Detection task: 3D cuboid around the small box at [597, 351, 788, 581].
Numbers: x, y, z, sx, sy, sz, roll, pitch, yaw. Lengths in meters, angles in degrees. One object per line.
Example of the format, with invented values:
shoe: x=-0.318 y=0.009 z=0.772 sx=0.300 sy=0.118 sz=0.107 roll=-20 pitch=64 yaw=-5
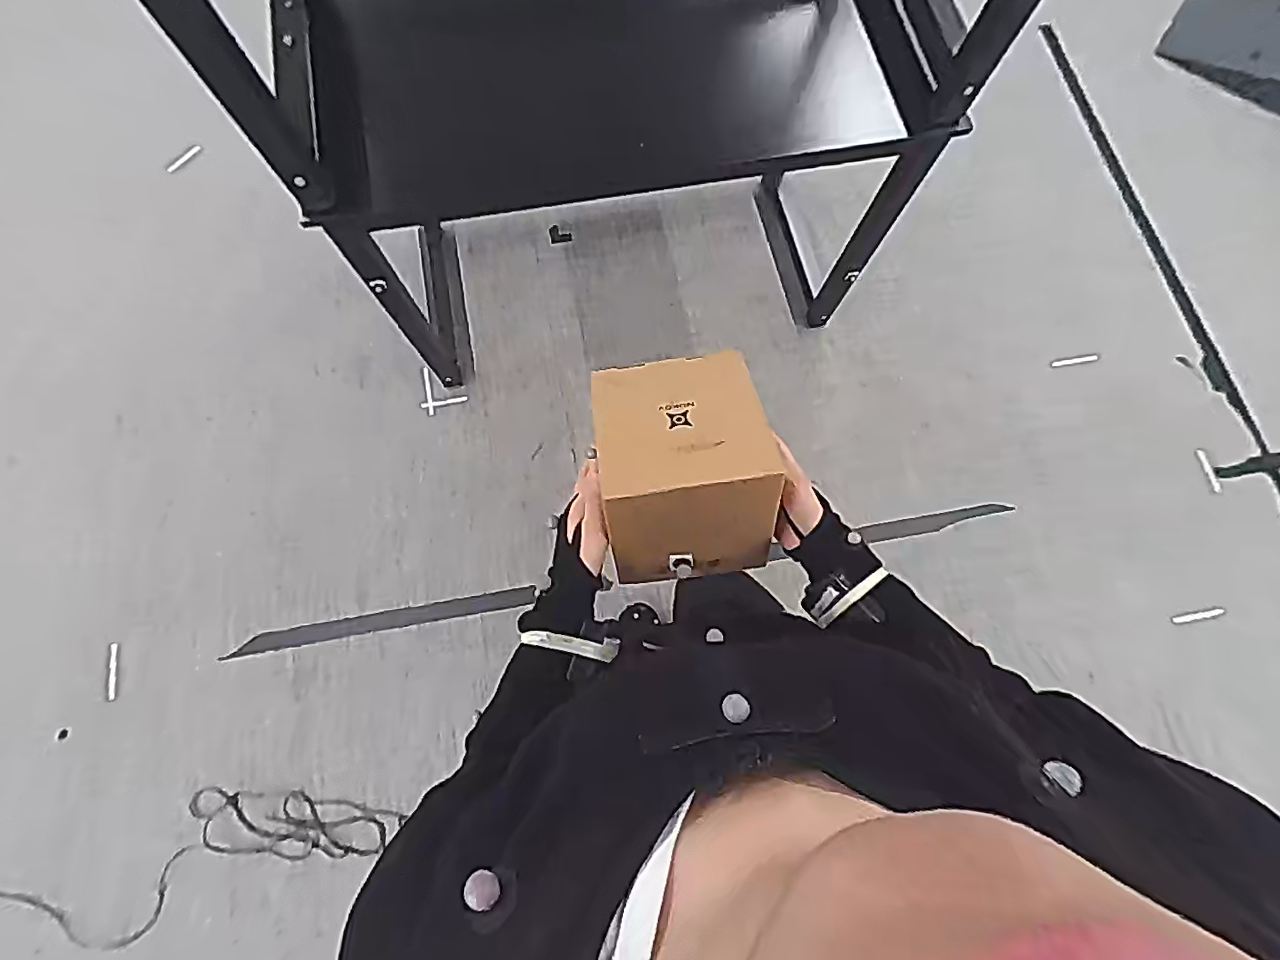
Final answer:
small box: x=0.047 y=-0.013 z=0.591 sx=0.168 sy=0.176 sz=0.179 roll=-8 pitch=52 yaw=-1
